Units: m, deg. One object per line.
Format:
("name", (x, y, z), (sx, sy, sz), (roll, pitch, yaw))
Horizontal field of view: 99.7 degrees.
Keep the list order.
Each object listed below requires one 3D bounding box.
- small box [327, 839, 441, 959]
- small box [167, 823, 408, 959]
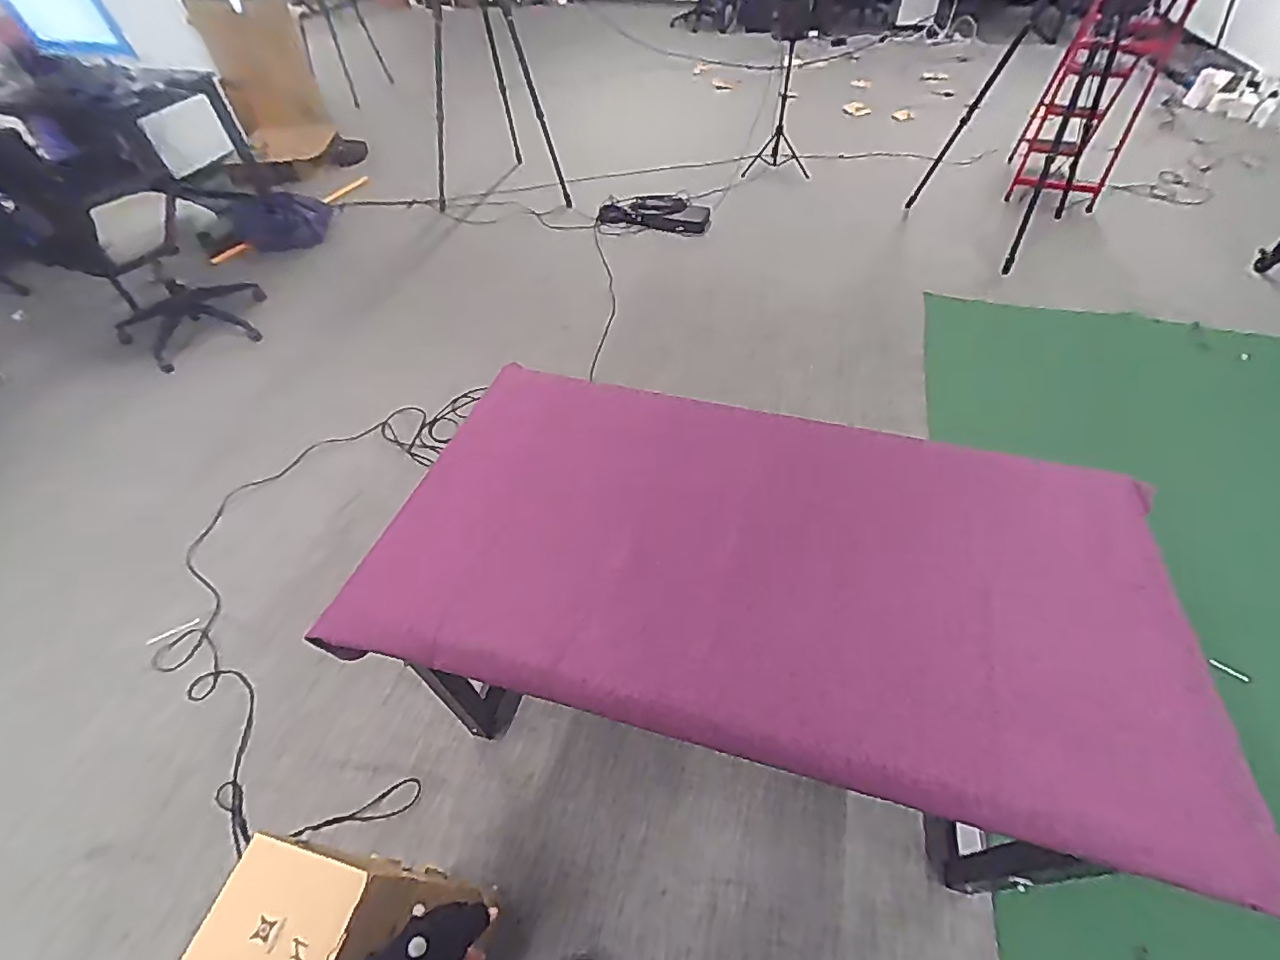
("small box", (-0.429, 0.681, 0.827), (0.168, 0.176, 0.179), (11, 53, 10))
("small box", (-0.443, 0.575, 0.702), (0.179, 0.176, 0.168), (12, 53, 10))
